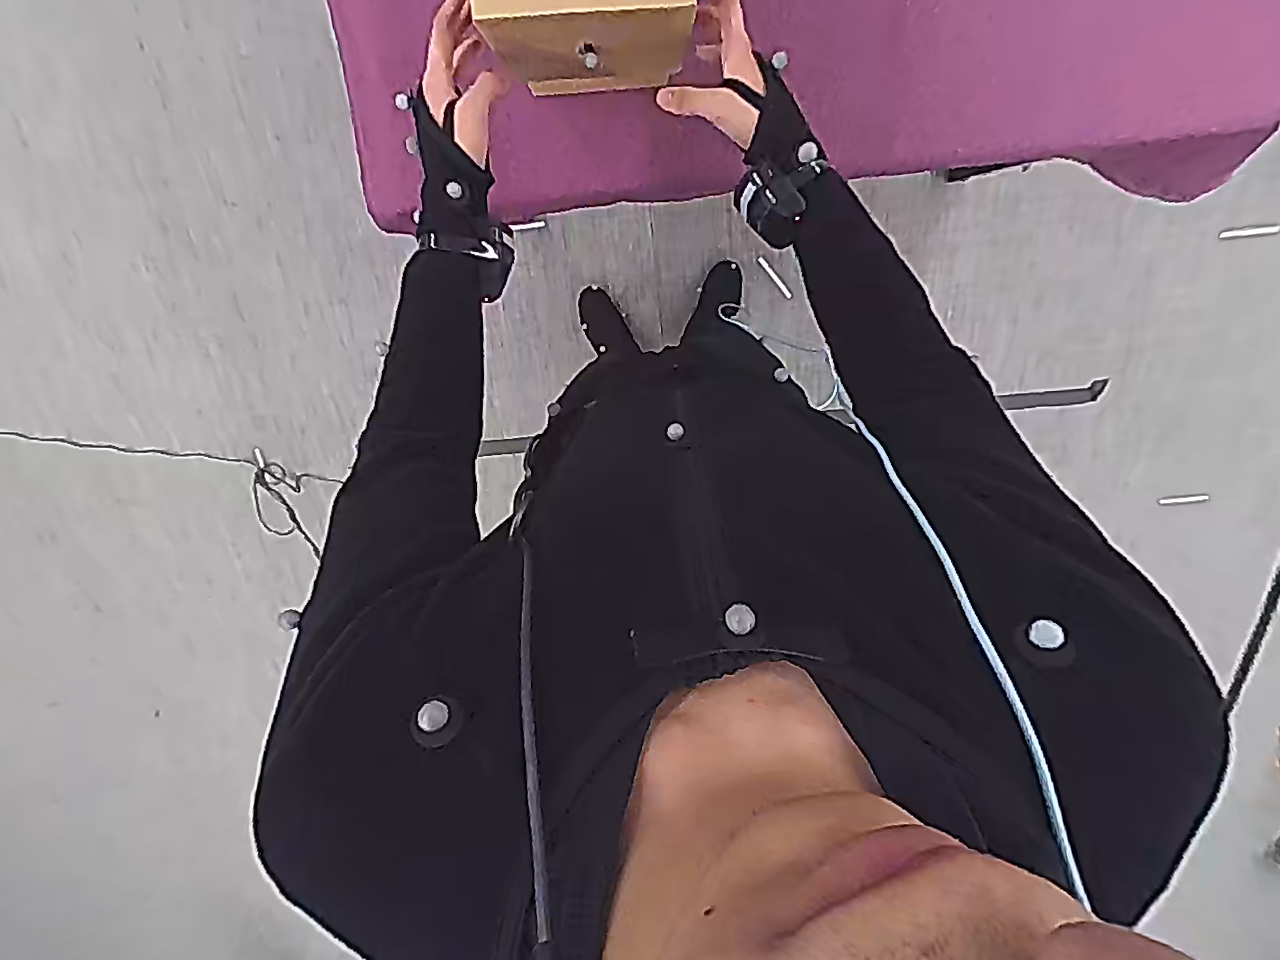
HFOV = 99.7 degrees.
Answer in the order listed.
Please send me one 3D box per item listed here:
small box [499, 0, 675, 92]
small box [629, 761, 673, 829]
[{"bbox_3d":[-0.058,-0.548,0.593,0.179,0.176,0.168,-4,112,0],"label":"small box"},{"bbox_3d":[0.043,1.235,2.131,0.168,0.176,0.179,-2,113,1],"label":"small box"}]
